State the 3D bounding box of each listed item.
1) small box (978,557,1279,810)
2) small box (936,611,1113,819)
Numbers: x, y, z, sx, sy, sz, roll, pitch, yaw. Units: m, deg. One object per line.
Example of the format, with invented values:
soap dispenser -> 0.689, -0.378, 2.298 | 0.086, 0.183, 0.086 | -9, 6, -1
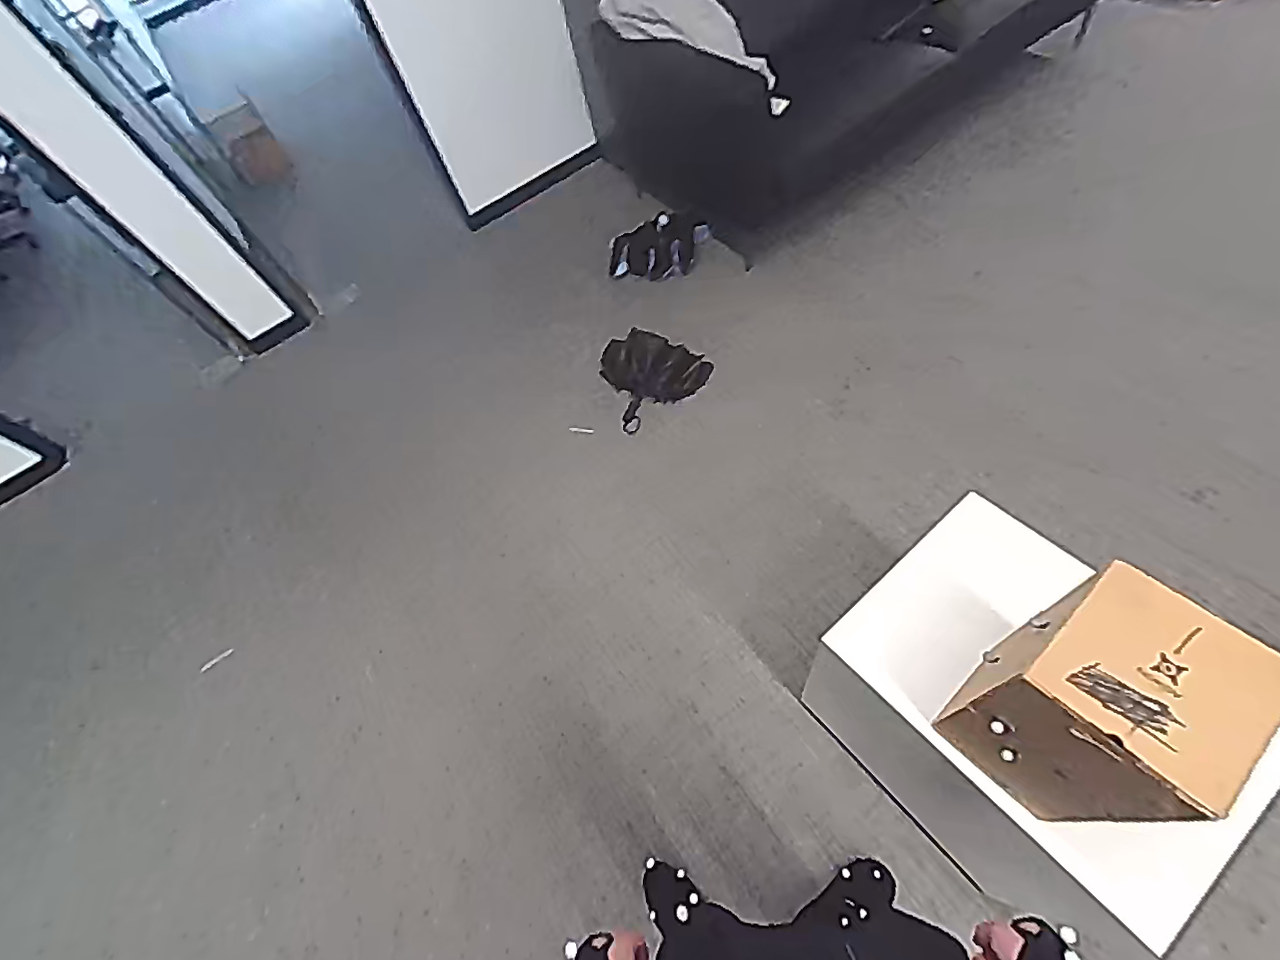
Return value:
small box -> 0.502, 0.223, 0.580 | 0.179, 0.176, 0.168 | -40, 59, -16
small box -> 0.529, 0.312, 0.716 | 0.179, 0.176, 0.168 | -41, 58, -16
